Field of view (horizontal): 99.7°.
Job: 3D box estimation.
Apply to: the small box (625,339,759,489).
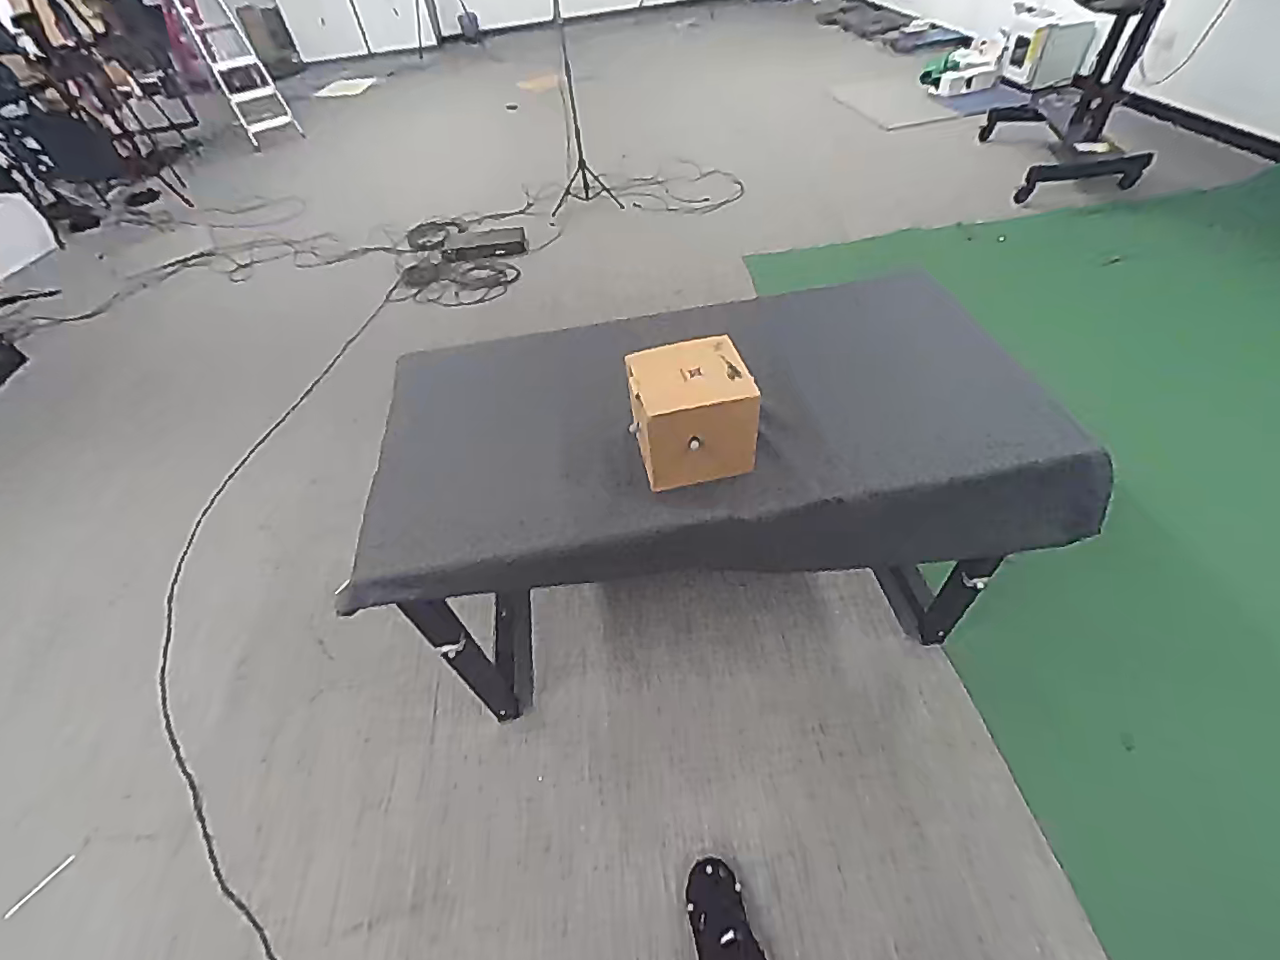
[{"bbox_3d":[0.085,-0.107,0.903,0.179,0.176,0.168,-14,46,-6],"label":"small box"}]
